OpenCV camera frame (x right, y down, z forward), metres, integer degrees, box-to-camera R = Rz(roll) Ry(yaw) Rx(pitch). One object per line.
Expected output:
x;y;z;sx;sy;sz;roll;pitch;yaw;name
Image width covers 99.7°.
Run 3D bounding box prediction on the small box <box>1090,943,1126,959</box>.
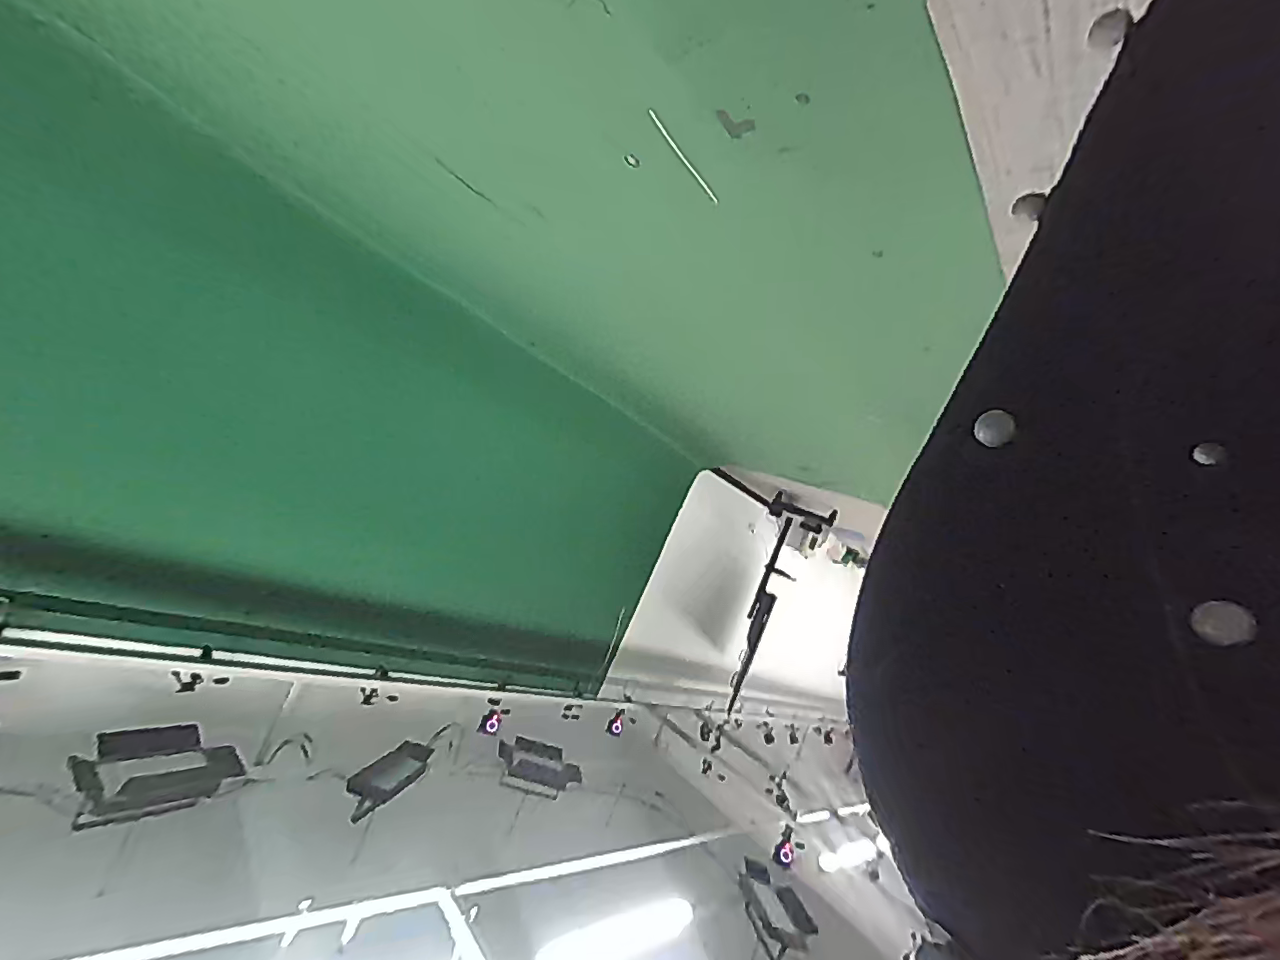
1.202;1.302;1.336;0.168;0.176;0.179;20;173;46;small box
